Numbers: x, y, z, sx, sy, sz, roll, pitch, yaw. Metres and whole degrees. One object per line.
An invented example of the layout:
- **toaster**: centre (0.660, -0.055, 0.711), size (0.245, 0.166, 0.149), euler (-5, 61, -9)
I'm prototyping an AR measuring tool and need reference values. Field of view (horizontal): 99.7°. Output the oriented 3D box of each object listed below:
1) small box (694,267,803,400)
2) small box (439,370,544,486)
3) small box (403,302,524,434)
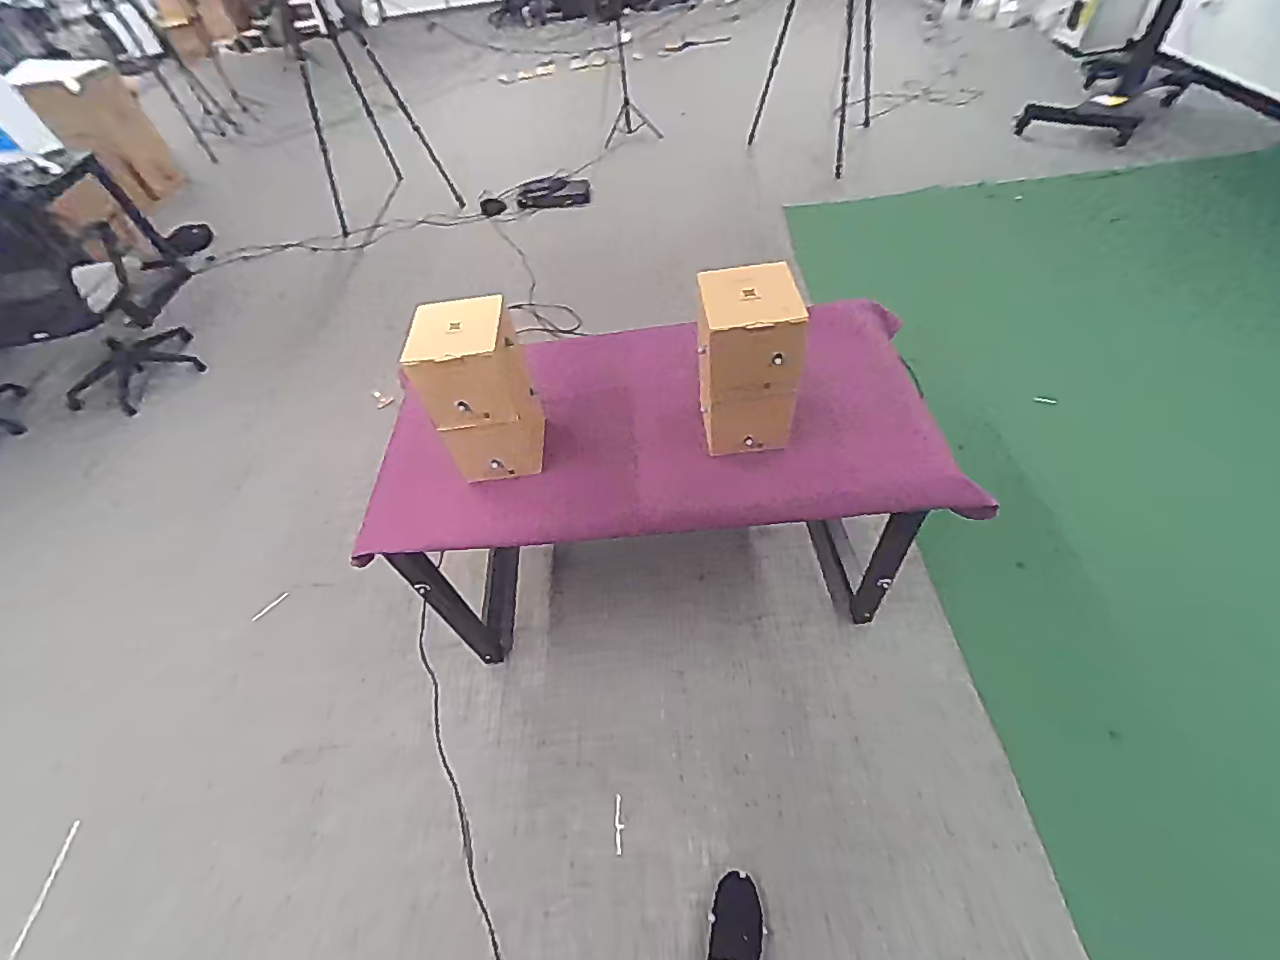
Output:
- **small box**: centre (0.194, -0.264, 1.003), size (0.168, 0.176, 0.179), euler (-7, 51, 3)
- **small box**: centre (-0.309, -0.111, 1.166), size (0.168, 0.176, 0.179), euler (-7, 51, 3)
- **small box**: centre (-0.326, -0.214, 1.041), size (0.168, 0.176, 0.179), euler (-7, 51, 2)
